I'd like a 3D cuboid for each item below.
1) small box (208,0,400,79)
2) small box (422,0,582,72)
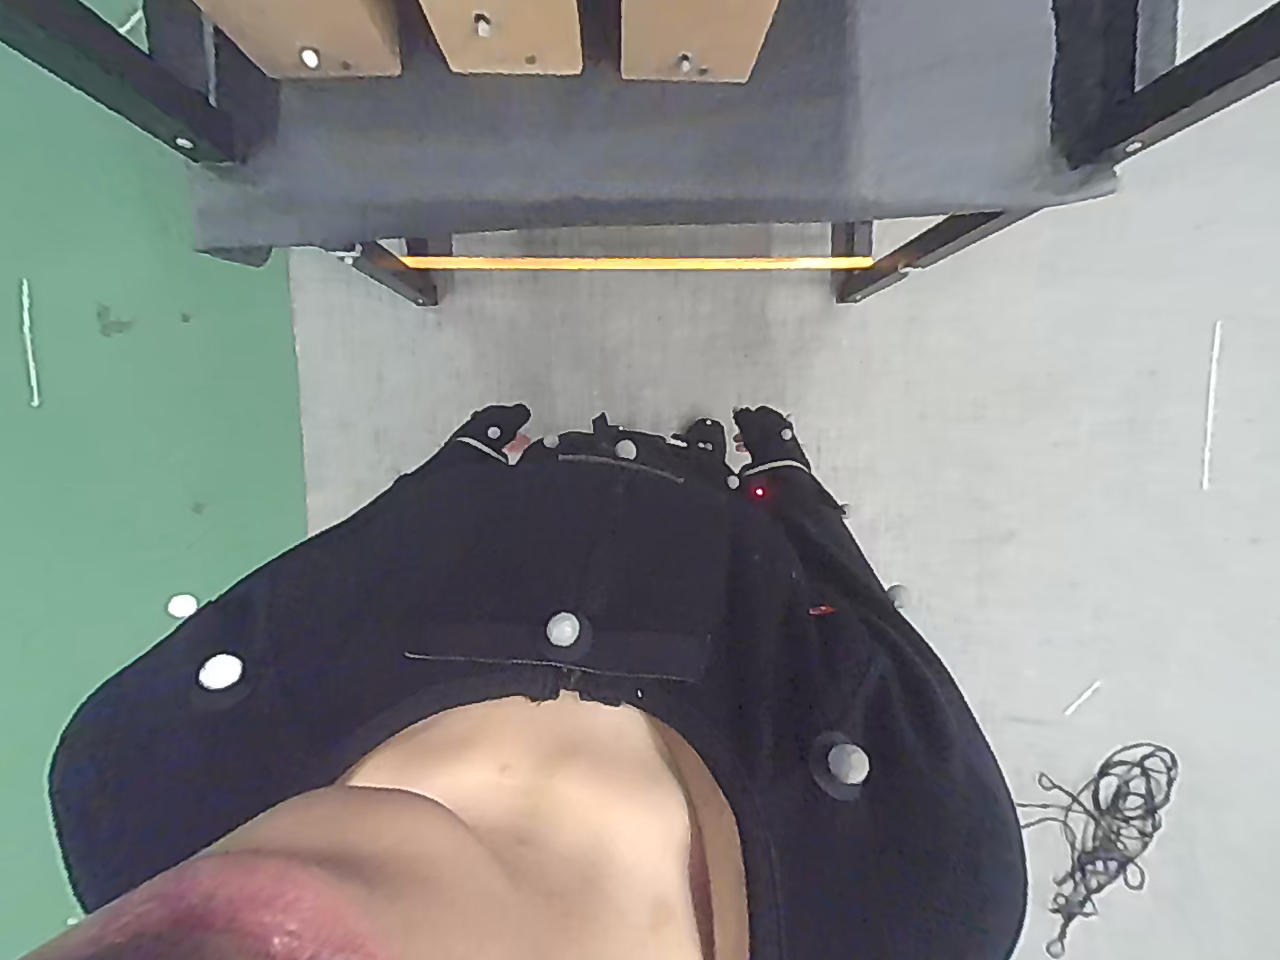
[{"bbox_3d":[-0.379,-0.581,0.587,0.168,0.176,0.179,-4,96,-2],"label":"small box"},{"bbox_3d":[-0.153,-0.592,0.598,0.168,0.176,0.179,-1,95,-2],"label":"small box"}]
